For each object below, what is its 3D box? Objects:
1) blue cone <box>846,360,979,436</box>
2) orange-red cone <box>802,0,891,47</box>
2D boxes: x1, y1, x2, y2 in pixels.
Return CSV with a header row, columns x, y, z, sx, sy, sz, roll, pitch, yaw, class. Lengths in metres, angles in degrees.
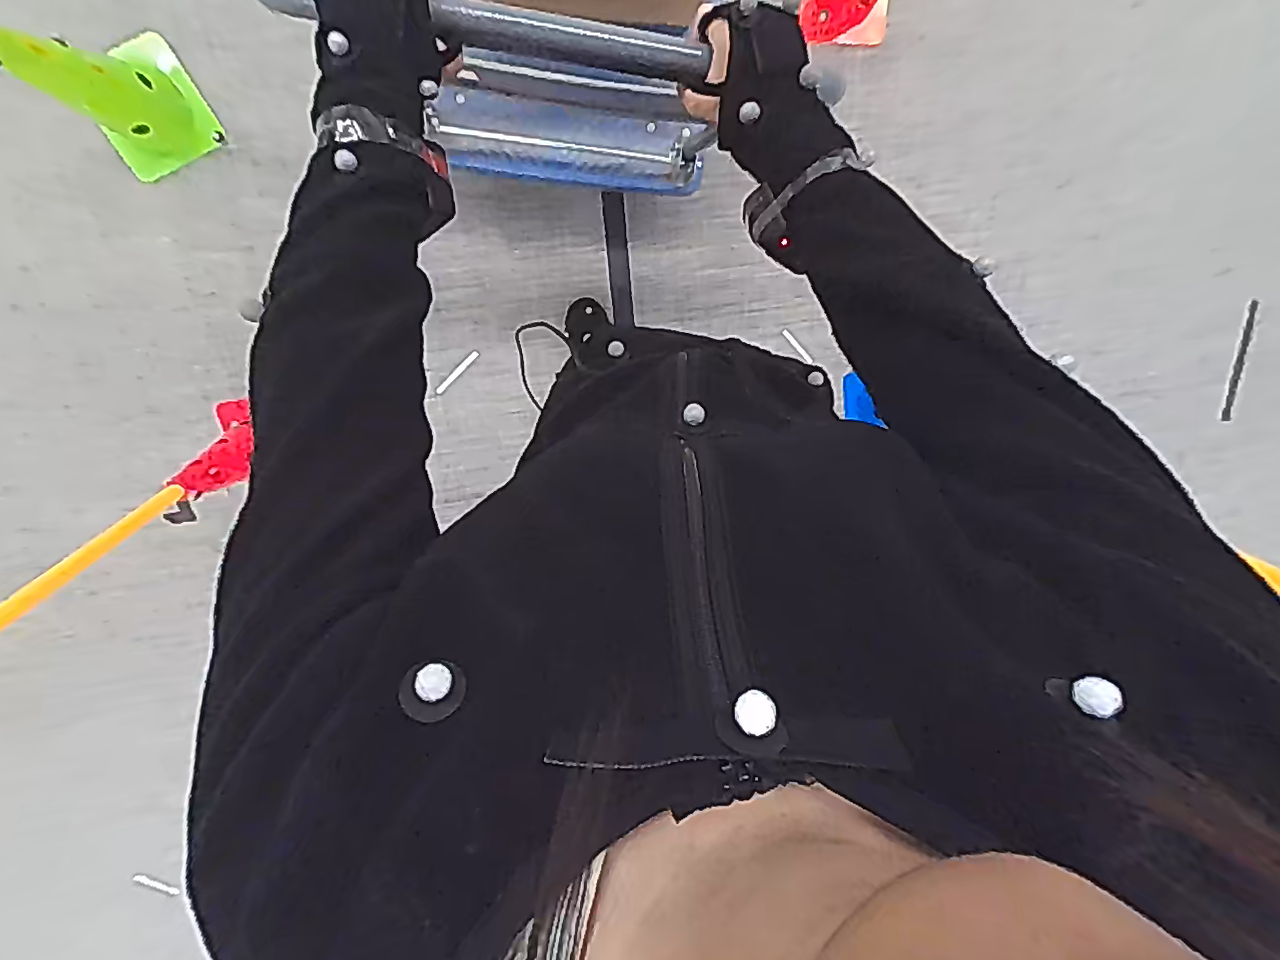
x,y,z,sx,sy,sz,roll,pitch,yaw,class
0.684,-0.169,1.331,0.193,0.380,0.192,-12,110,-5,blue cone
0.474,-0.987,0.989,0.199,0.360,0.198,-2,111,-9,orange-red cone
